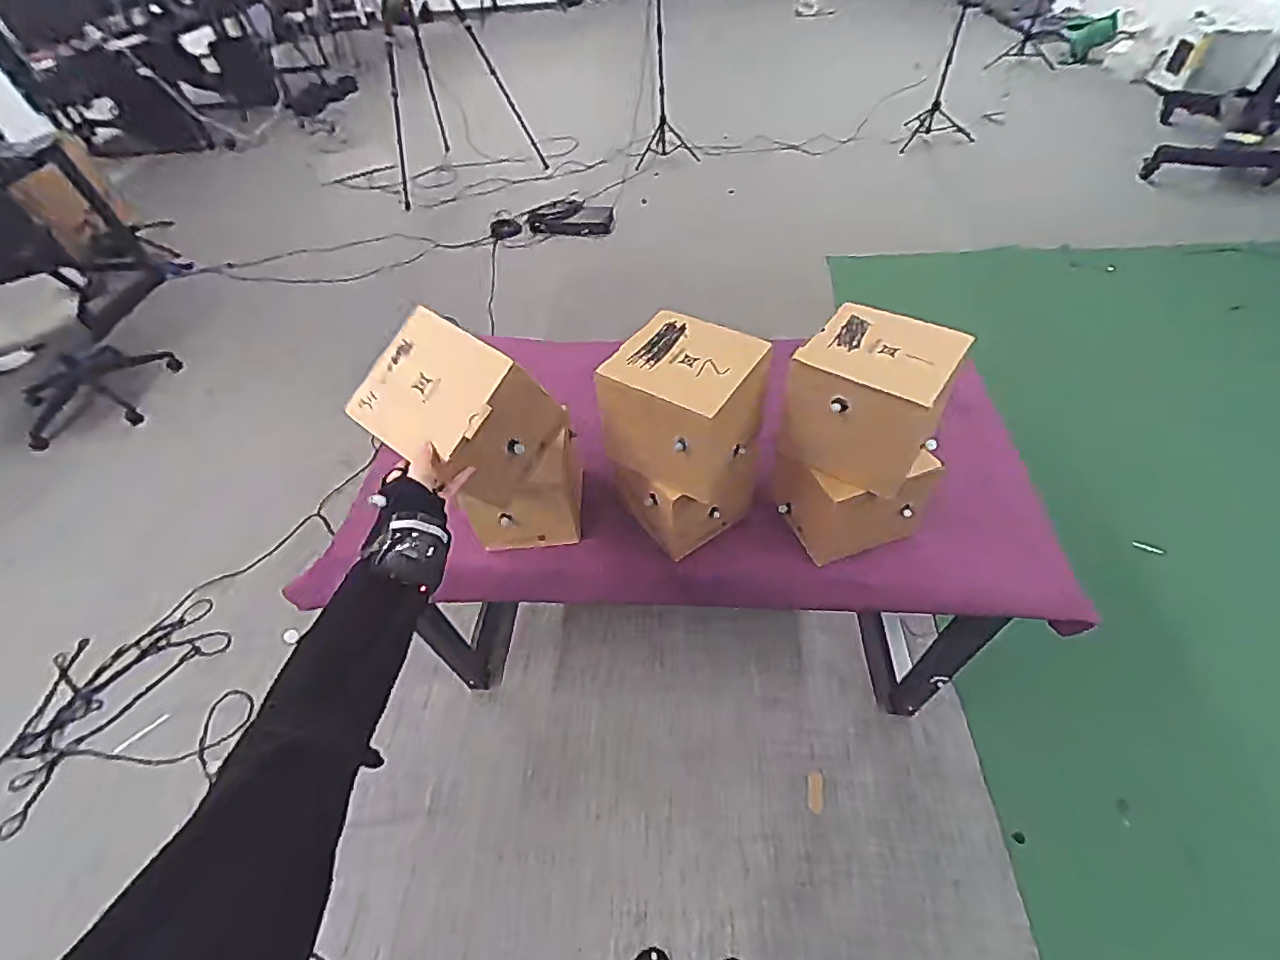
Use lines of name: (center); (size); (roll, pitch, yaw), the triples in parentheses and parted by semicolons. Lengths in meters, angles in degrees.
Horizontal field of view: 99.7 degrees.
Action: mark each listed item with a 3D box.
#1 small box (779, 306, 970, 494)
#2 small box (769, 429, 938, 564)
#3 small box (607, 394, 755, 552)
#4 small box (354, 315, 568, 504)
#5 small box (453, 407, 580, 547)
small box: (0.311, -0.110, 0.750); (0.179, 0.176, 0.168); (29, 56, 27)
small box: (0.325, 0.007, 0.865); (0.179, 0.176, 0.168); (-17, 49, -9)
small box: (0.066, -0.004, 0.896); (0.168, 0.176, 0.179); (-30, 53, -19)
small box: (-0.226, -0.083, 0.728); (0.179, 0.176, 0.168); (31, 82, 22)
small box: (-0.197, 0.002, 0.917); (0.168, 0.176, 0.179); (-5, 49, 1)
